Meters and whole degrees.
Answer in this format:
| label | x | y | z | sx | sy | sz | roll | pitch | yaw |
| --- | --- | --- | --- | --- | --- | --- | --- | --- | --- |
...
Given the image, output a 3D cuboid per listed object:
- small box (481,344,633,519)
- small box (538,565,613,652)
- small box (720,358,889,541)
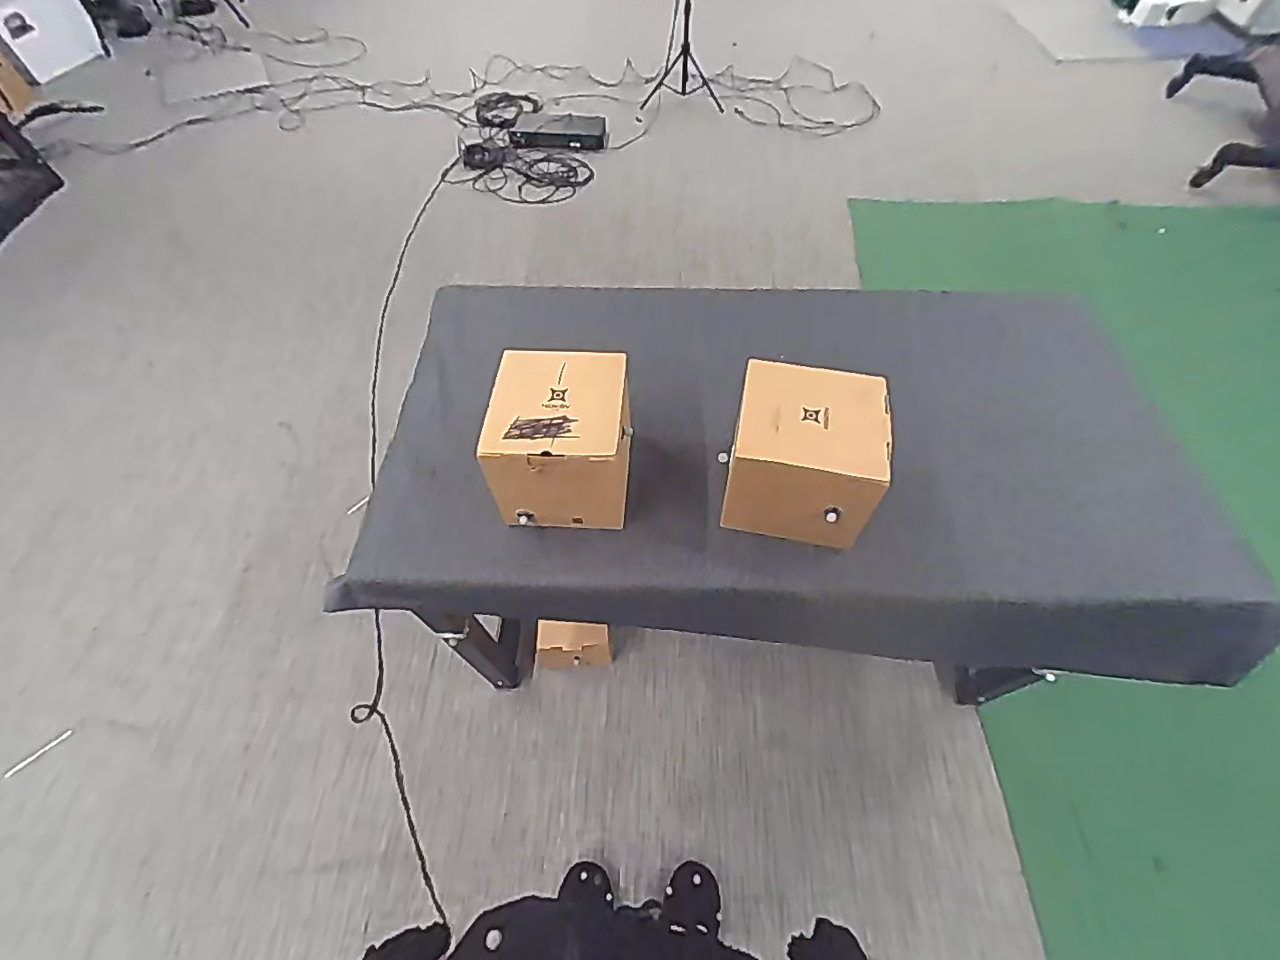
| label | x | y | z | sx | sy | sz | roll | pitch | yaw |
| --- | --- | --- | --- | --- | --- | --- | --- | --- | --- |
| small box | -0.099 | -0.061 | 0.739 | 0.168 | 0.176 | 0.179 | 3 | 56 | 2 |
| small box | -0.156 | 0.328 | 1.359 | 0.168 | 0.176 | 0.179 | -2 | 59 | -1 |
| small box | 0.212 | -0.034 | 0.722 | 0.179 | 0.176 | 0.168 | 10 | 57 | 8 |
